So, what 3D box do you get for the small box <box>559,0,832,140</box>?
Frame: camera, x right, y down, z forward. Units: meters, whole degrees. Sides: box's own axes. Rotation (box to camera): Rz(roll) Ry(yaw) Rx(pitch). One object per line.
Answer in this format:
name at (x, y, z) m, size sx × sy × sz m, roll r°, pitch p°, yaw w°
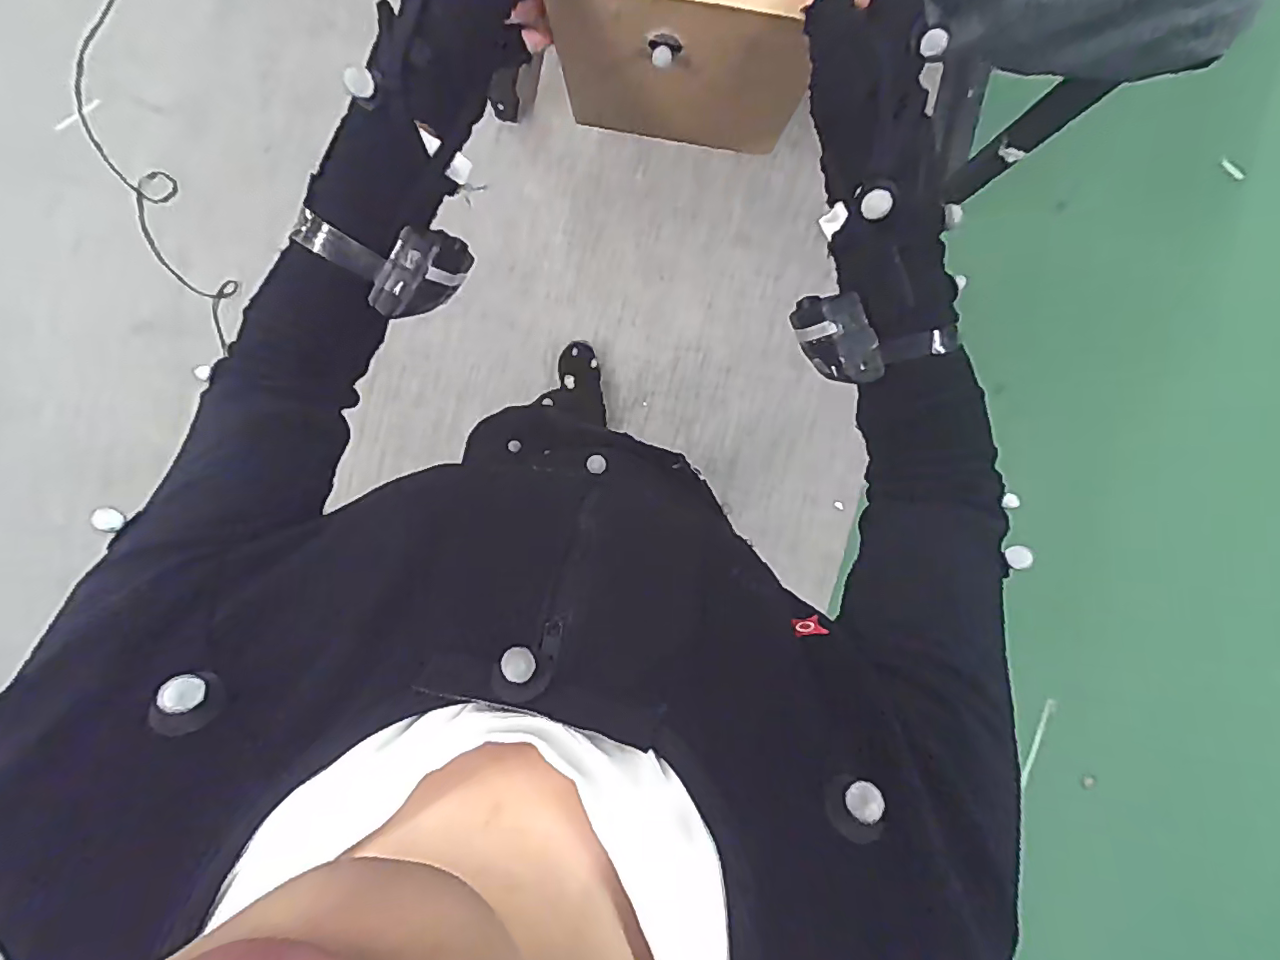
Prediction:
small box at (0.040, -0.370, 0.376) m, size 0.179 × 0.176 × 0.168 m, roll 10°, pitch 98°, yaw 0°
